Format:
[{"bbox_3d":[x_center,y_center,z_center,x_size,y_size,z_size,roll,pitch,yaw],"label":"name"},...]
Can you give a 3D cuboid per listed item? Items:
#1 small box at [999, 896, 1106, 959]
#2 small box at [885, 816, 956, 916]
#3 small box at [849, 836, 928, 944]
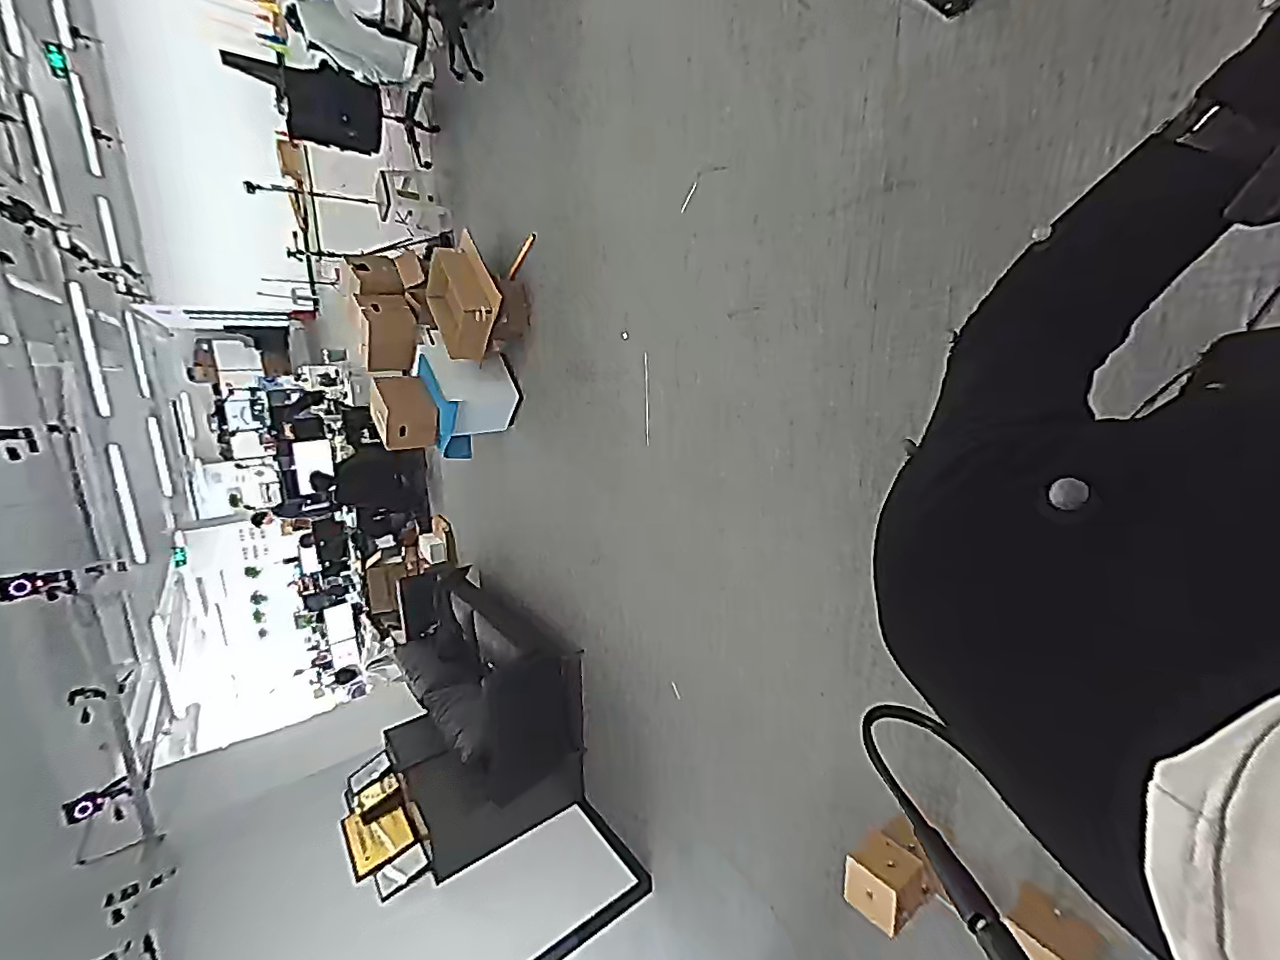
[{"bbox_3d":[1.140,1.306,1.497,0.179,0.176,0.168,22,116,51],"label":"small box"},{"bbox_3d":[0.918,1.270,1.796,0.179,0.176,0.168,20,114,52],"label":"small box"},{"bbox_3d":[0.785,1.278,1.703,0.168,0.176,0.179,13,109,52],"label":"small box"}]
